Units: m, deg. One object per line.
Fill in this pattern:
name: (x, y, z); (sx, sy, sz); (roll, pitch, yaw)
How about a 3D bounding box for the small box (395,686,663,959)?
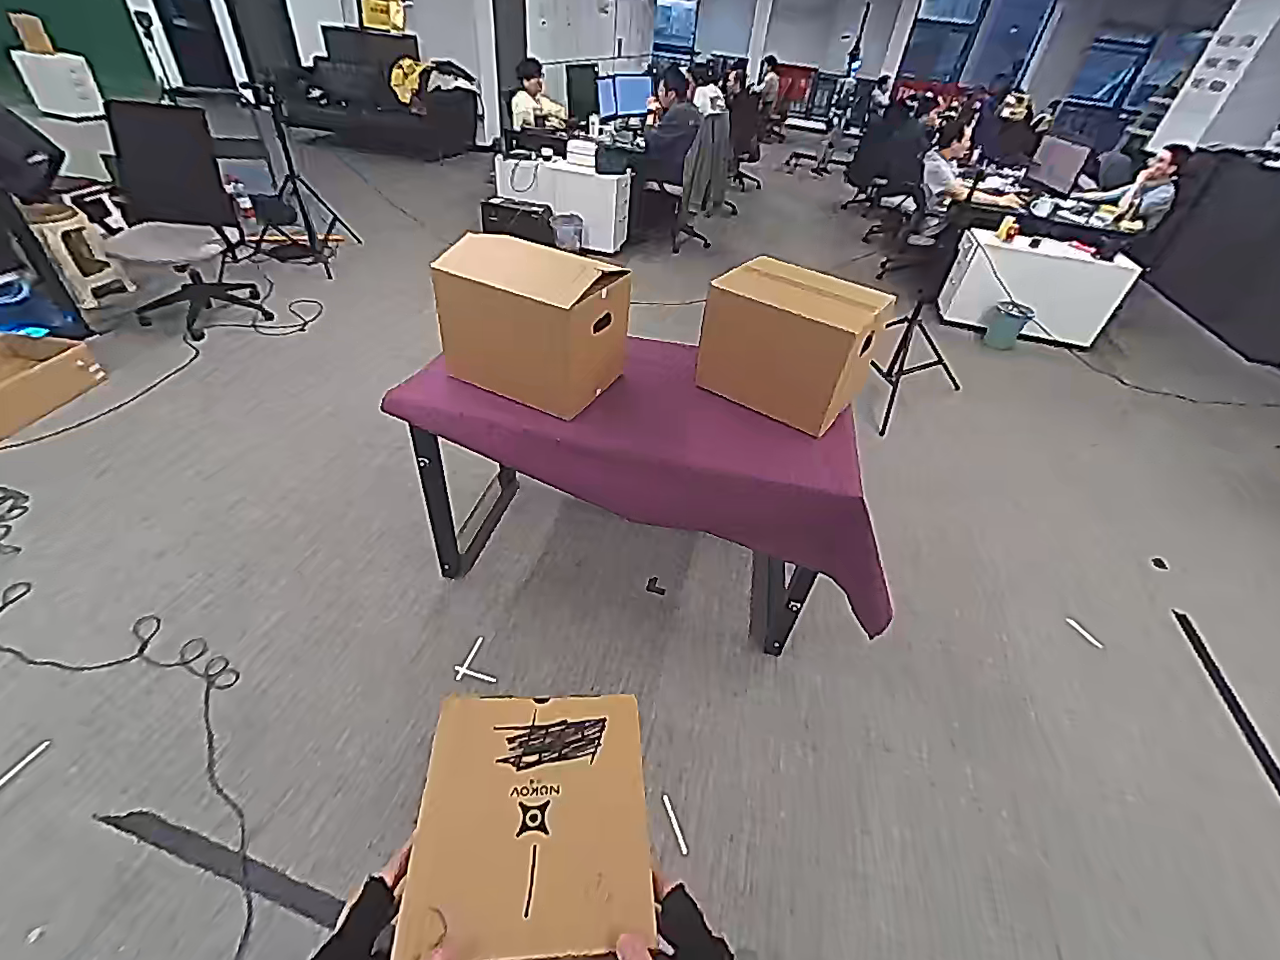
small box: (-0.084, 0.294, 0.443); (0.168, 0.176, 0.179); (2, 38, -9)
